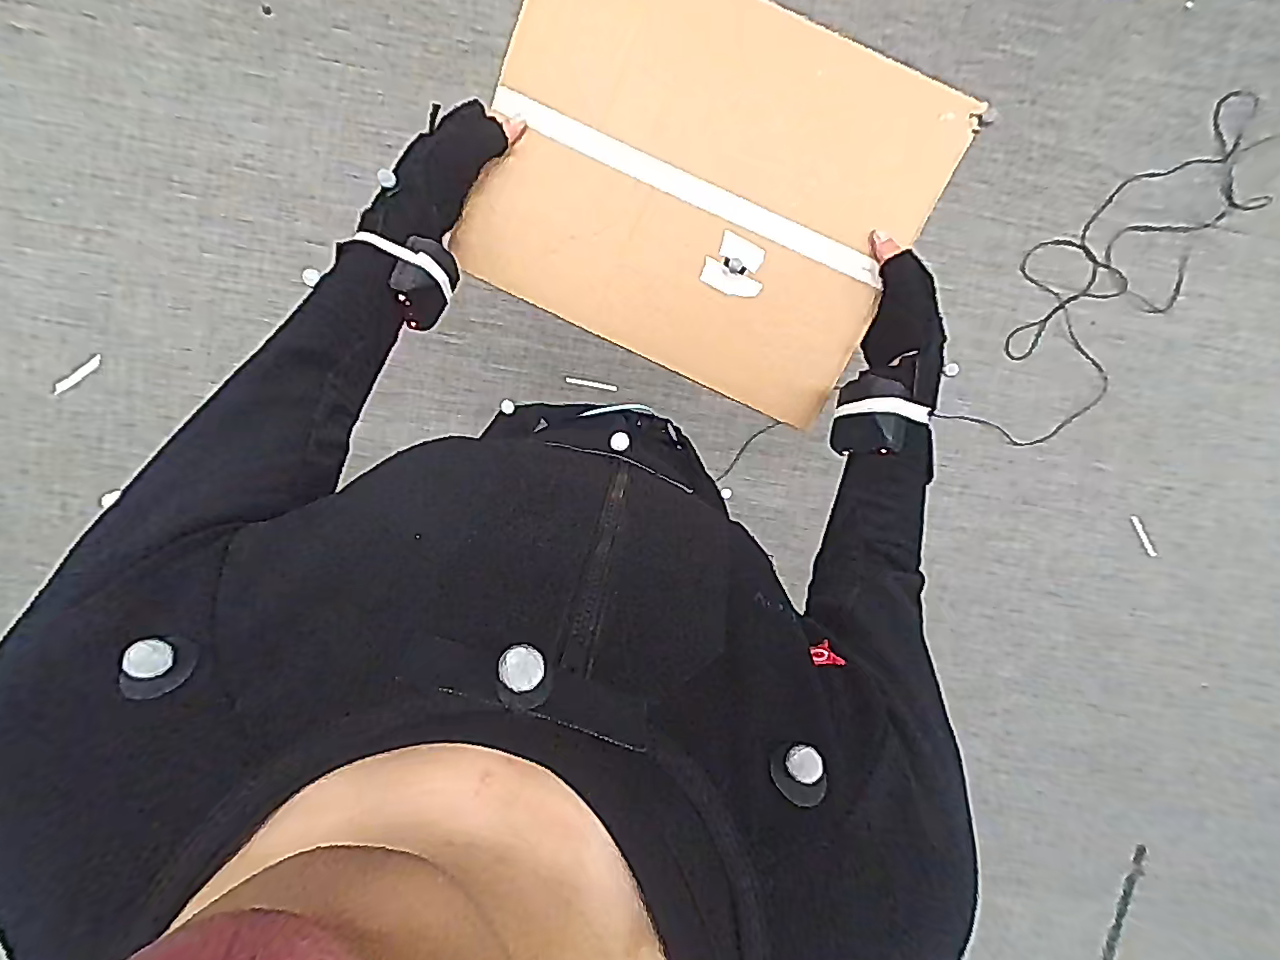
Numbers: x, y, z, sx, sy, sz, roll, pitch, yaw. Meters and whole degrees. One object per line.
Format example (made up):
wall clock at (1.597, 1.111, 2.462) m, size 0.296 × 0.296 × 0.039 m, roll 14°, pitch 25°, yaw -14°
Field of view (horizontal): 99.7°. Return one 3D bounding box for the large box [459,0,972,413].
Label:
large box at (0.066, -0.317, 0.655) m, size 0.408 × 0.320 × 0.320 m, roll 25°, pitch 106°, yaw -1°
